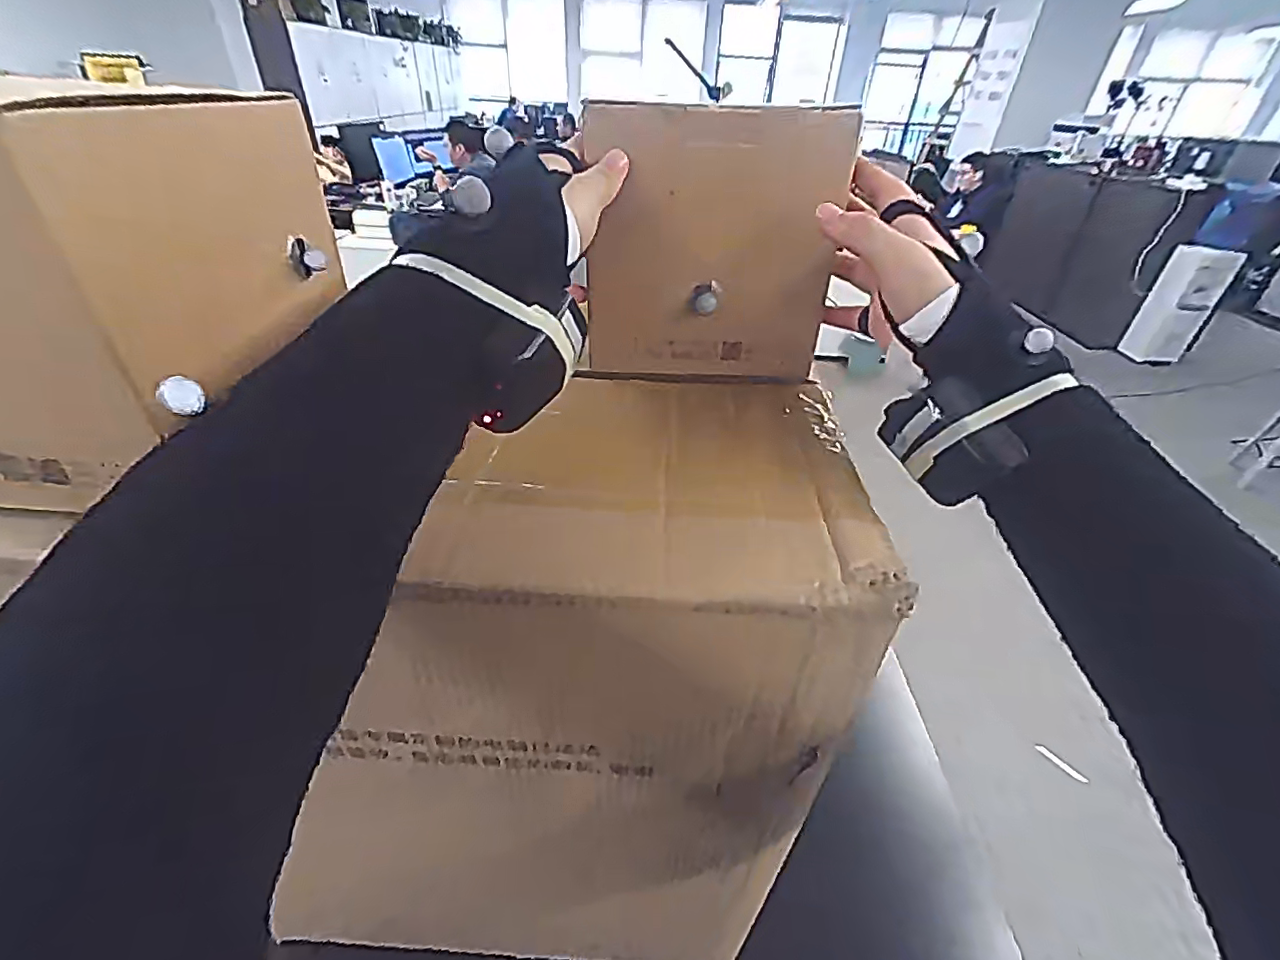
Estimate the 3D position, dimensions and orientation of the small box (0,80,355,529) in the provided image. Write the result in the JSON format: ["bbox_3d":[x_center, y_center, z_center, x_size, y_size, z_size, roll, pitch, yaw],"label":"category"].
[{"bbox_3d":[-0.274,-0.097,0.279,0.168,0.176,0.179,3,37,0],"label":"small box"}]

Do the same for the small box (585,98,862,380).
[{"bbox_3d":[0.048,-0.191,0.427,0.168,0.176,0.179,1,33,1],"label":"small box"}]
